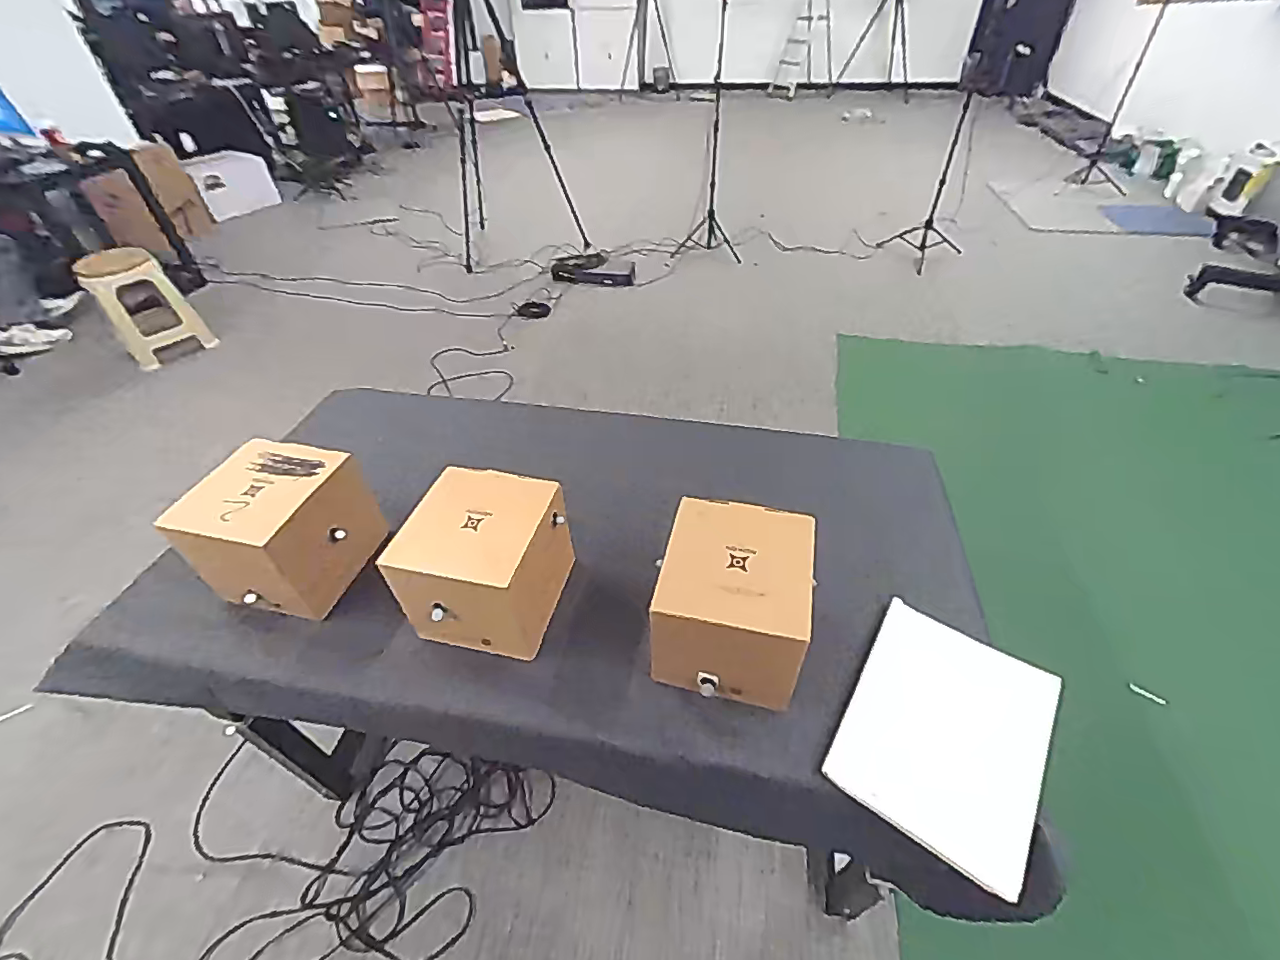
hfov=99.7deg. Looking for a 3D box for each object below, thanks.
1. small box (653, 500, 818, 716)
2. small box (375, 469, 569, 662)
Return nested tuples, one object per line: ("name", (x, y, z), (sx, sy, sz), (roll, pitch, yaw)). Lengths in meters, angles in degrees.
("small box", (0.114, 0.152, 0.654), (0.168, 0.176, 0.179), (8, 45, 12))
("small box", (-0.200, 0.112, 0.709), (0.168, 0.176, 0.179), (8, 43, 11))
